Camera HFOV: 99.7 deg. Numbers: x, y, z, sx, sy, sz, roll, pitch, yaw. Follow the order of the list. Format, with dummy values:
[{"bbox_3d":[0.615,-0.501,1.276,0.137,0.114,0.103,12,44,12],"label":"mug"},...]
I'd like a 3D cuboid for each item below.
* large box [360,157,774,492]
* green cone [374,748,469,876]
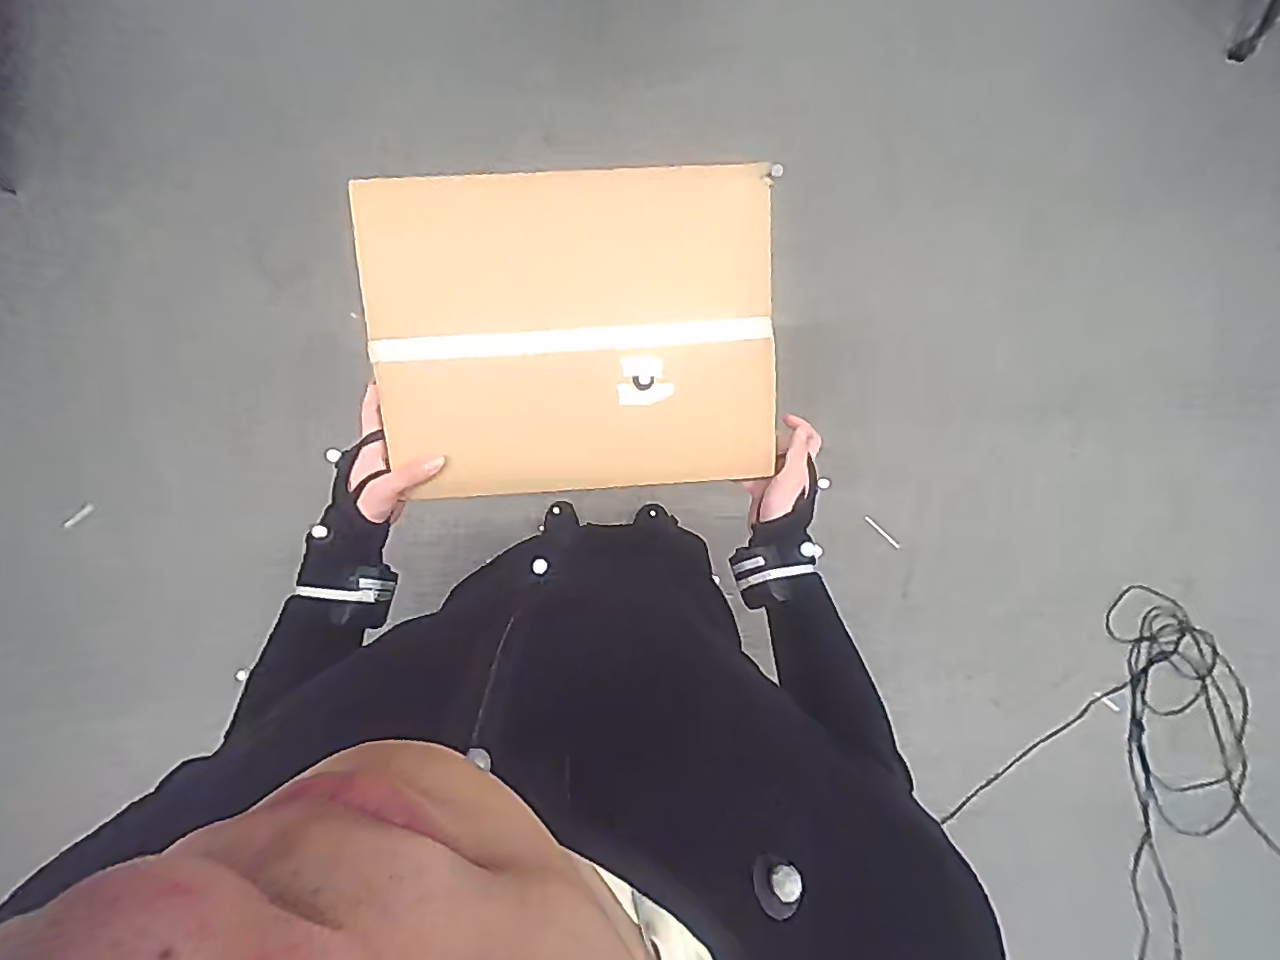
[{"bbox_3d":[-0.073,-0.181,0.701,0.408,0.320,0.320,-5,102,-3],"label":"large box"},{"bbox_3d":[-0.603,0.889,1.420,0.200,0.368,0.202,6,89,-2],"label":"green cone"}]
